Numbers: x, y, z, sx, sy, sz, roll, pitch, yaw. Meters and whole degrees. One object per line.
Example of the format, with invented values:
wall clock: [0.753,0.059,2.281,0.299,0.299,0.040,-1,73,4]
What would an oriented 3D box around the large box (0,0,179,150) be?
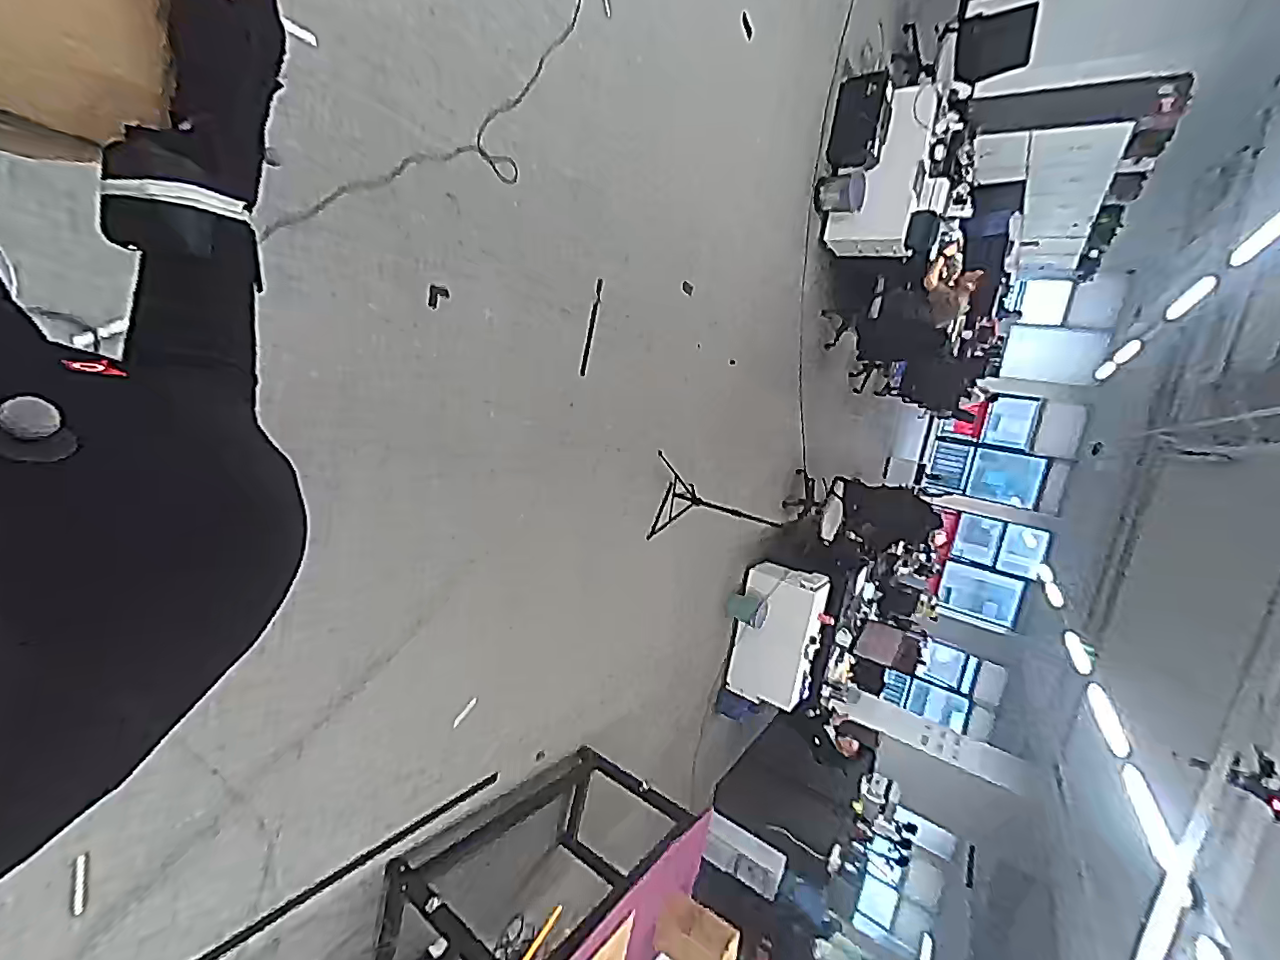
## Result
large box: [-0.530,-0.413,0.259,0.408,0.320,0.320,-6,114,-60]
